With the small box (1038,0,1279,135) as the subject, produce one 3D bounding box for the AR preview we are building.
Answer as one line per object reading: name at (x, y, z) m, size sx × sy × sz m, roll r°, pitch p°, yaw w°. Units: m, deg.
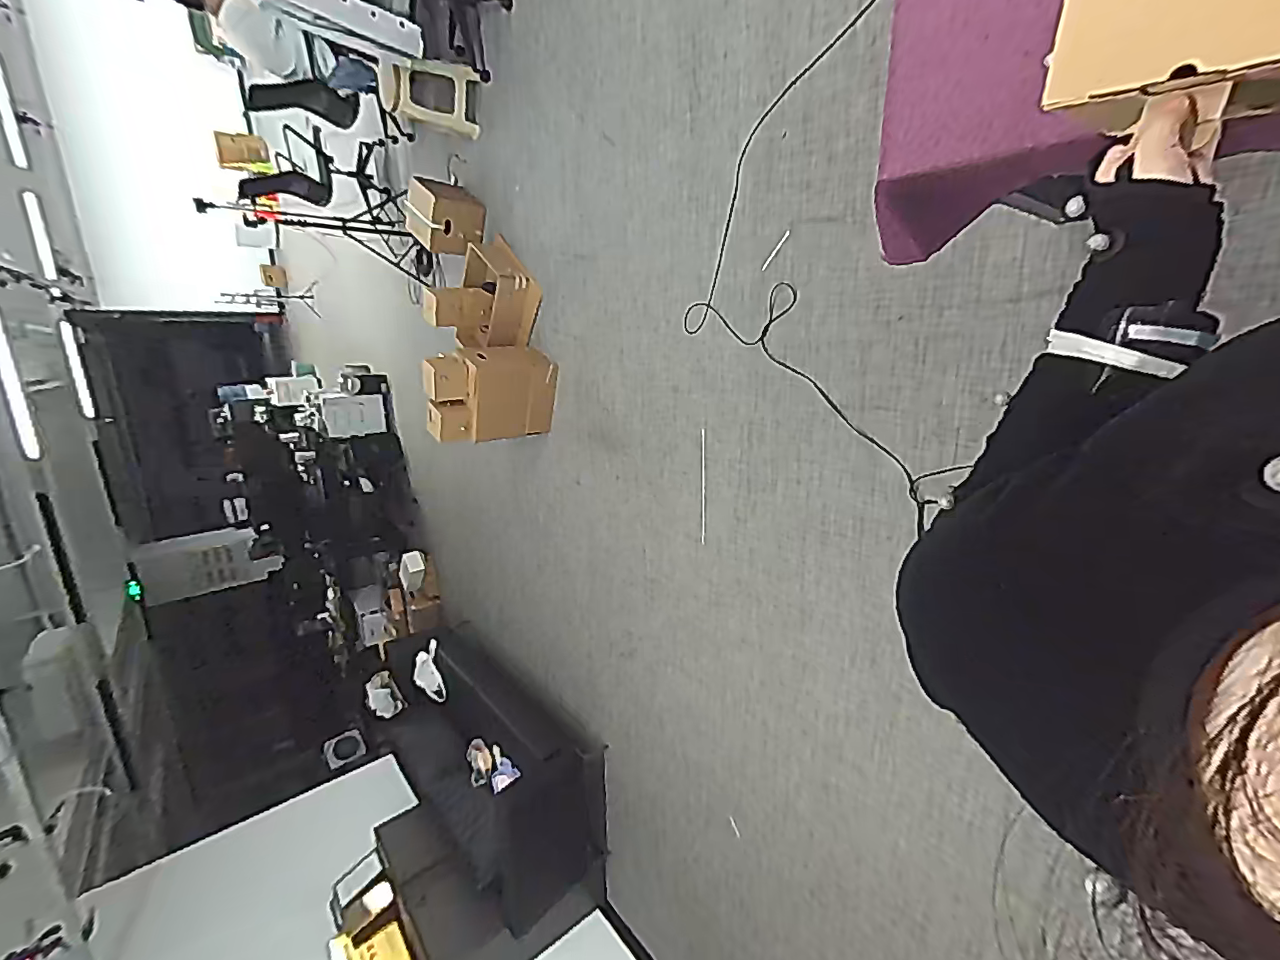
small box at (0.435, -0.375, 0.396) m, size 0.168 × 0.176 × 0.179 m, roll 25°, pitch 125°, yaw 48°
